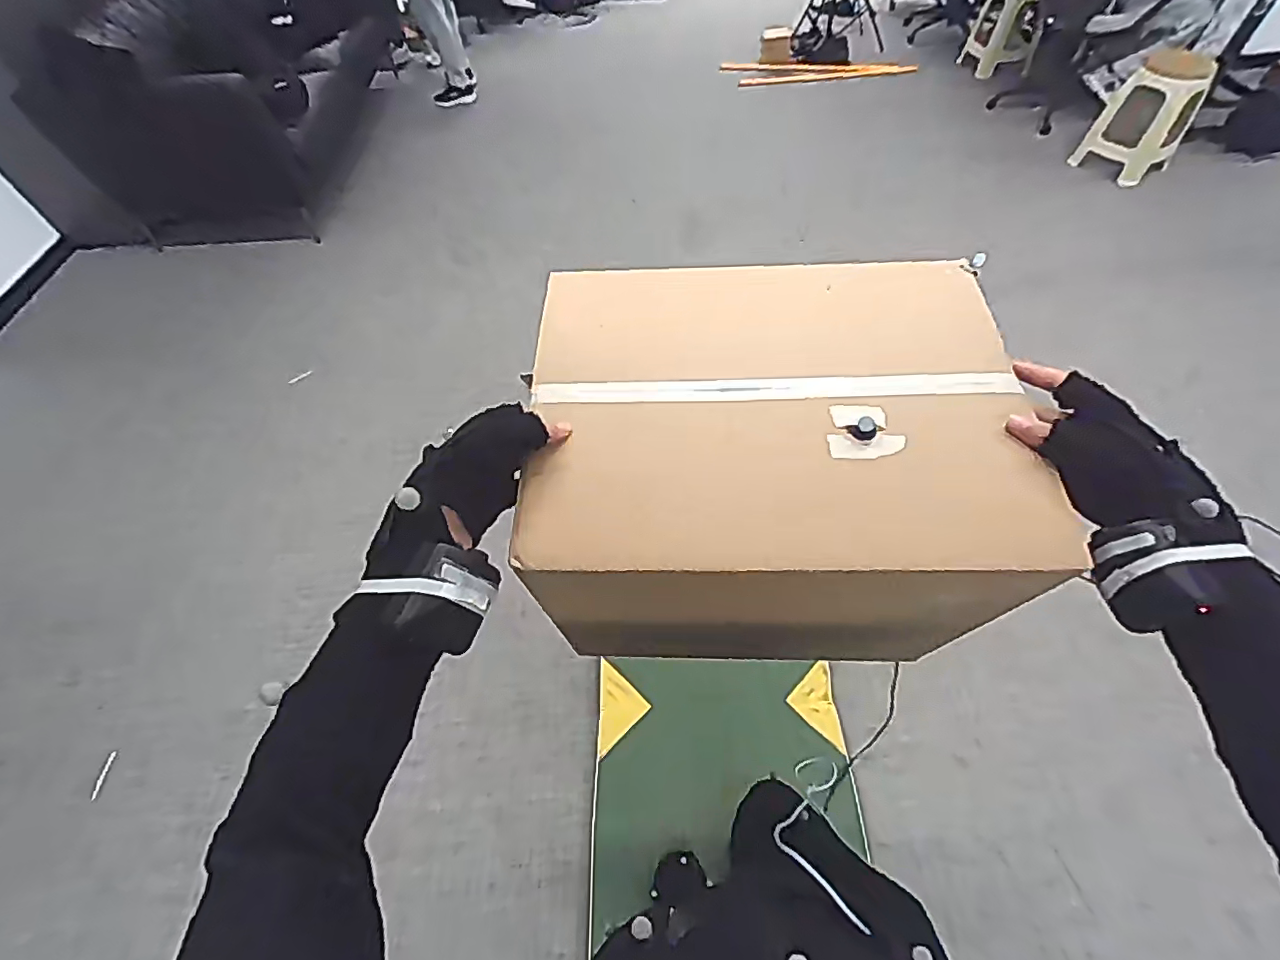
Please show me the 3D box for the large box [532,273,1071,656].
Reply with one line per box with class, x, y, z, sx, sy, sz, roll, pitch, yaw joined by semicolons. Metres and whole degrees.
large box;0.120;0.003;0.598;0.408;0.320;0.320;0;61;2
